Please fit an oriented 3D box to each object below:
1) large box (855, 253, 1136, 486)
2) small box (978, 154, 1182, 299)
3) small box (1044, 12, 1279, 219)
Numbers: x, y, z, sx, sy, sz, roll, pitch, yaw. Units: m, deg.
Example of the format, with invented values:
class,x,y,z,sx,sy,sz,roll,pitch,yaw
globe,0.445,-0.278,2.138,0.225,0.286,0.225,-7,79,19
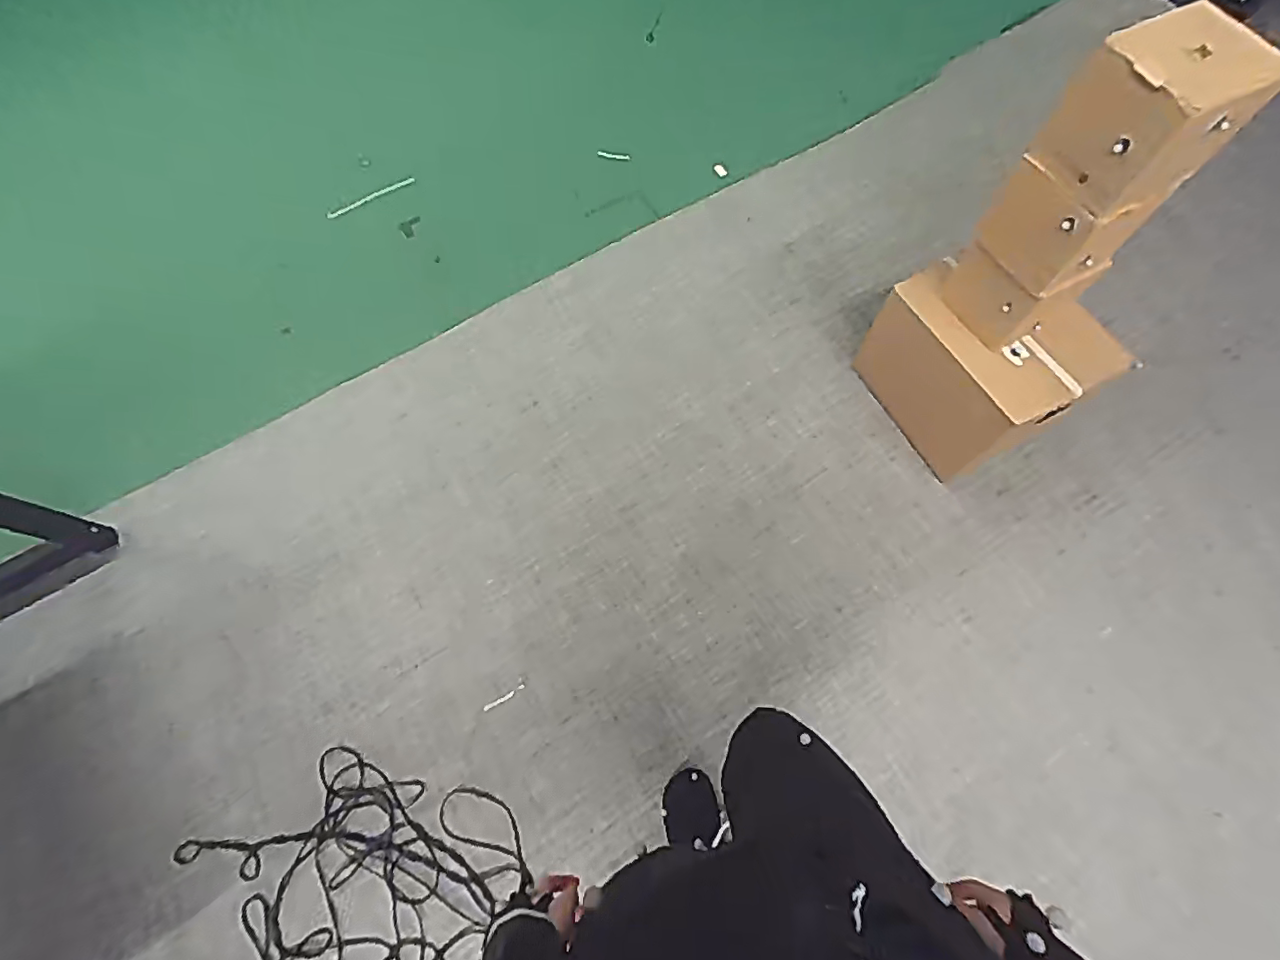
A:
class,x,y,z,sx,sy,sz,roll,pitch,yaw
large box,0.800,-0.261,1.293,0.320,0.320,0.408,-26,69,-7
small box,0.739,-0.453,0.935,0.168,0.176,0.179,-27,70,-8
small box,0.741,-0.519,0.786,0.179,0.176,0.168,-24,70,-8
